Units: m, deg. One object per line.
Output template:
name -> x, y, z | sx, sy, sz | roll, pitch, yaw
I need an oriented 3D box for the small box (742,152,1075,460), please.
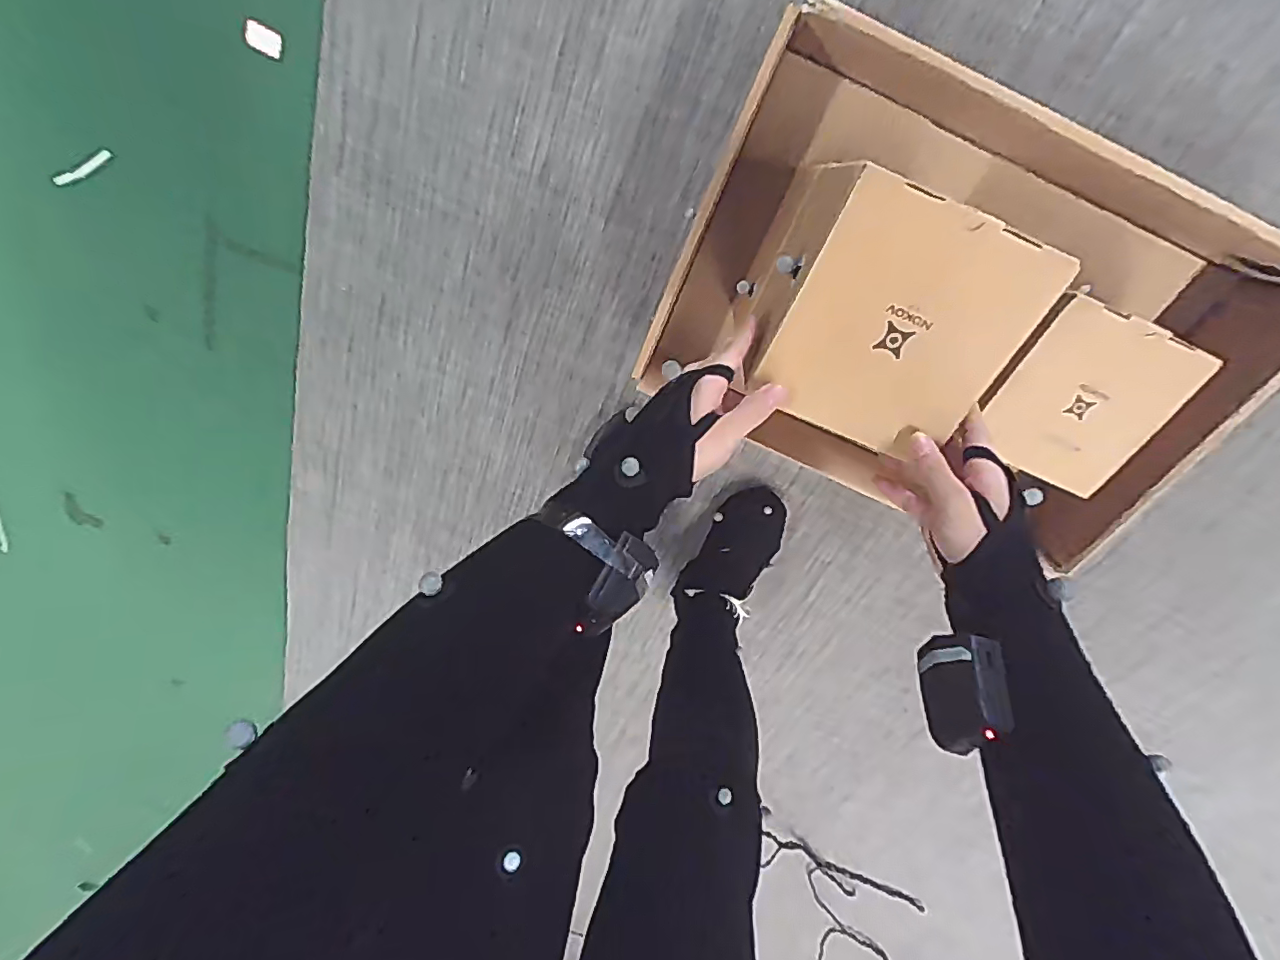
small box -> 0.200, -0.152, 0.468 | 0.168, 0.176, 0.179 | 23, 118, -4

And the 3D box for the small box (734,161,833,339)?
small box -> 0.218, -0.229, 0.610 | 0.168, 0.176, 0.179 | 23, 118, -5
